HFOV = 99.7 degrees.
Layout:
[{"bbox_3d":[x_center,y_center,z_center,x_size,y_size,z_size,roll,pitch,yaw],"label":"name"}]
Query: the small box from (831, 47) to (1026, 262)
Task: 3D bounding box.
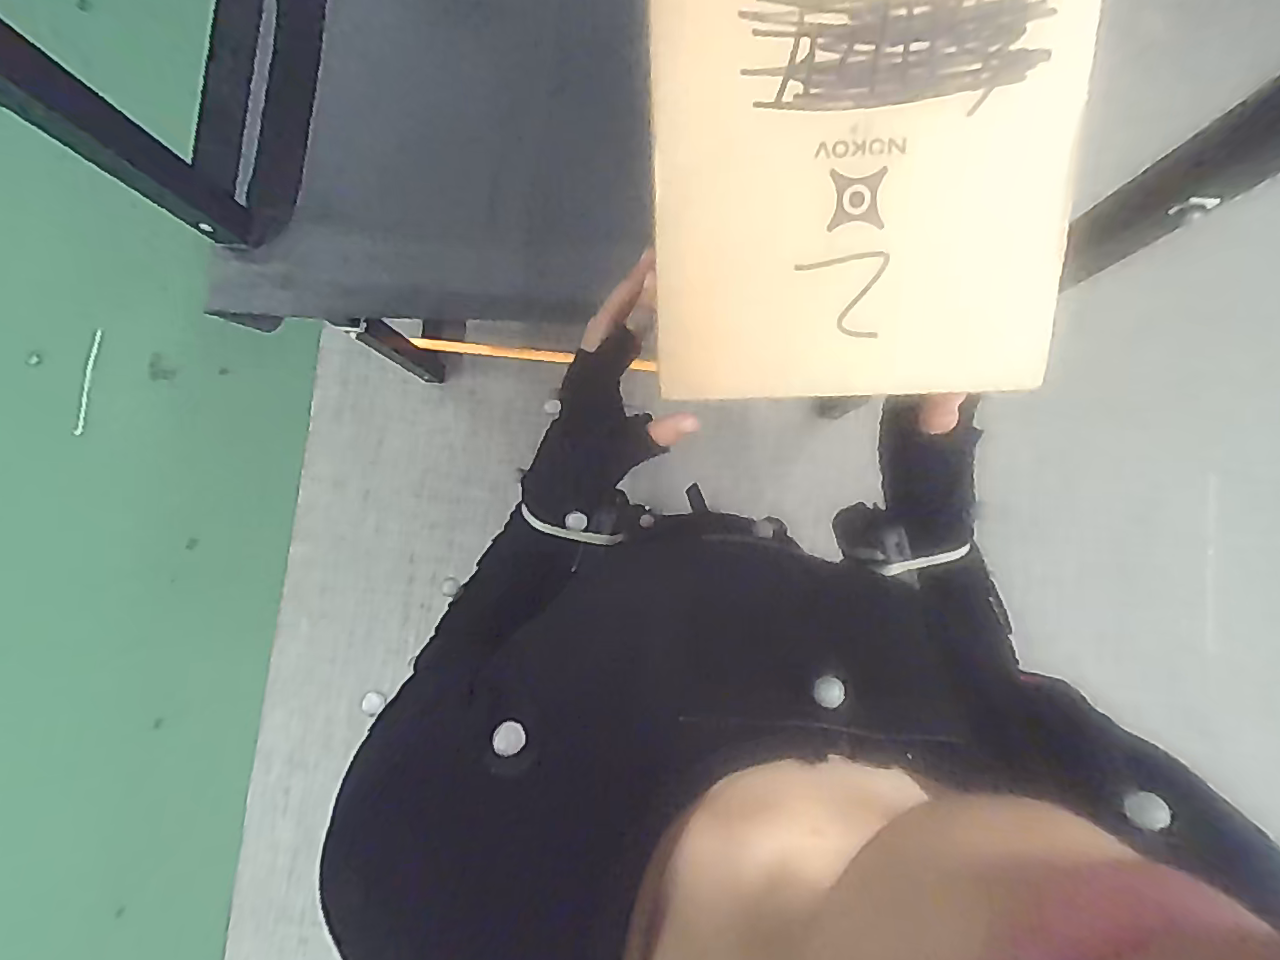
[{"bbox_3d":[0.367,-0.417,0.720,0.168,0.176,0.179,9,85,1],"label":"small box"}]
